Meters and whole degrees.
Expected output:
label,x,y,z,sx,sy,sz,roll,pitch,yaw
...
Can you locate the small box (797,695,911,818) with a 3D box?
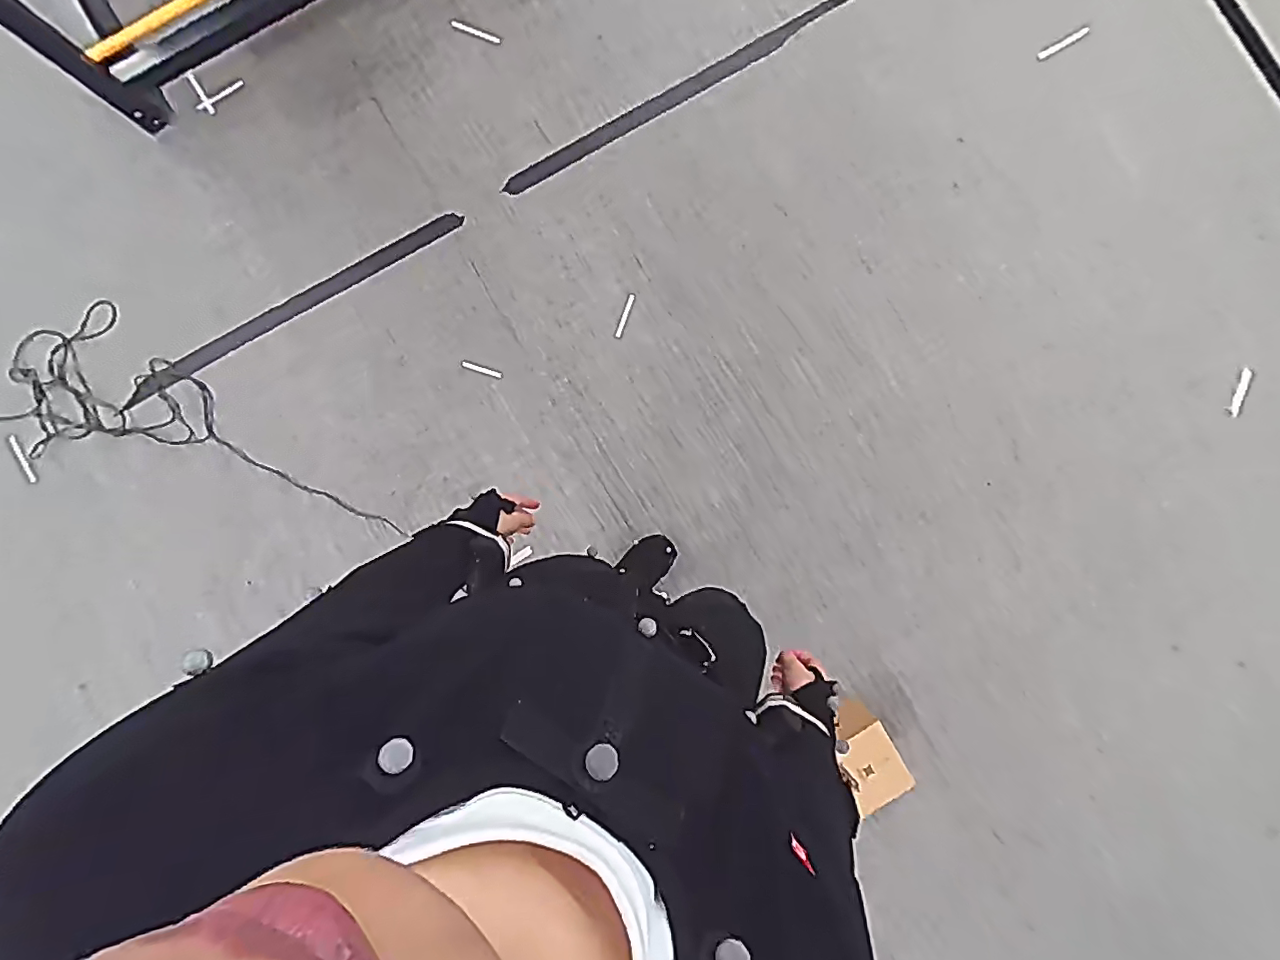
label,x,y,z,sx,sy,sz,roll,pitch,yaw
small box,0.495,0.647,1.289,0.179,0.176,0.168,-30,88,-2
